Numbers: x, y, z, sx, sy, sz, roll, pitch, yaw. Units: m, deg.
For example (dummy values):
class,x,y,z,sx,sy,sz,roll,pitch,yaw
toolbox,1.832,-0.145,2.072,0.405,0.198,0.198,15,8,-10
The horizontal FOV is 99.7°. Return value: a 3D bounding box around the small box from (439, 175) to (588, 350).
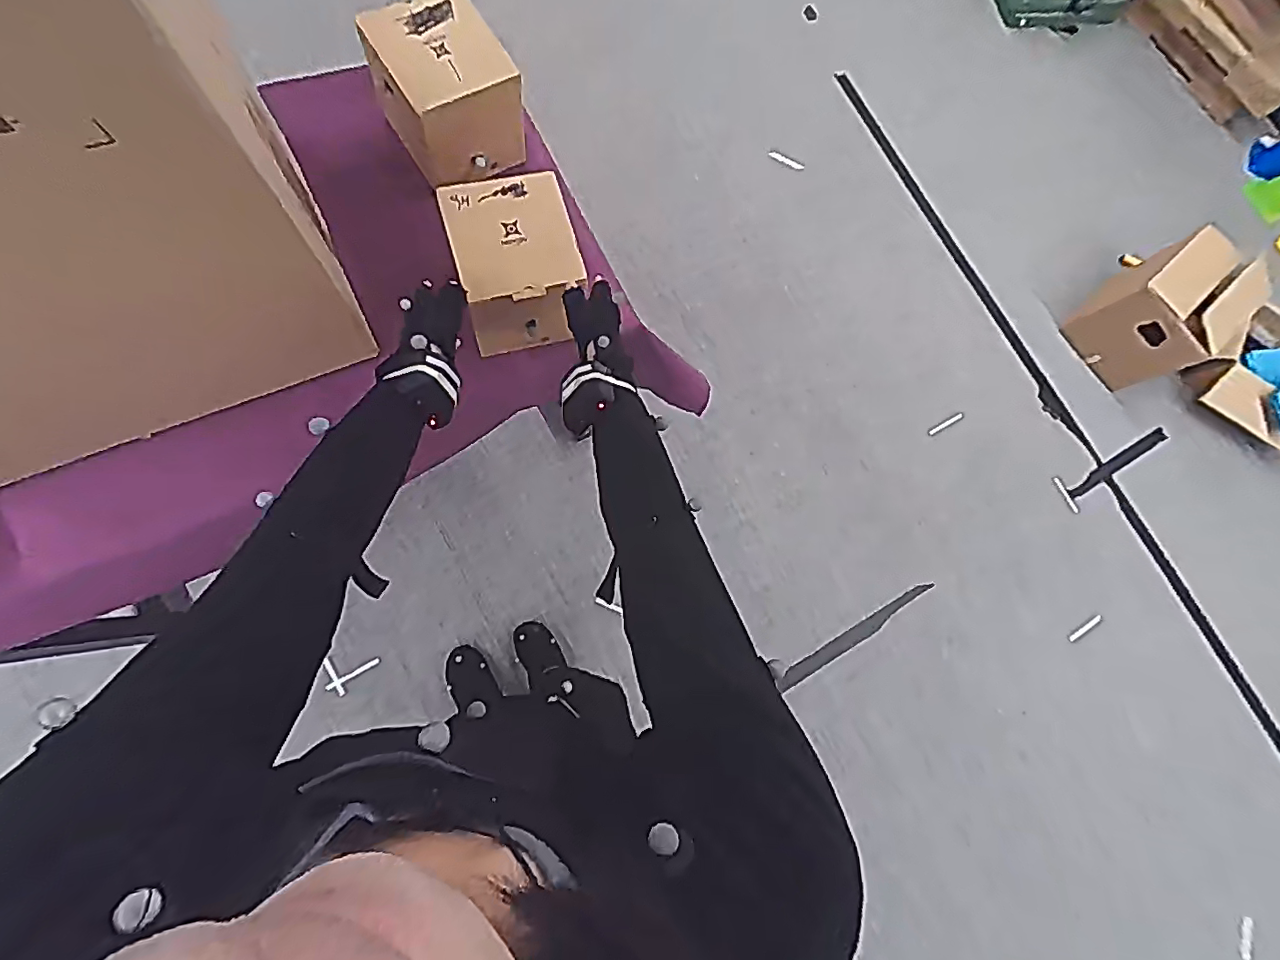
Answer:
class,x,y,z,sx,sy,sz,roll,pitch,yaw
small box,-0.181,-0.308,0.801,0.168,0.176,0.179,-15,81,-13
